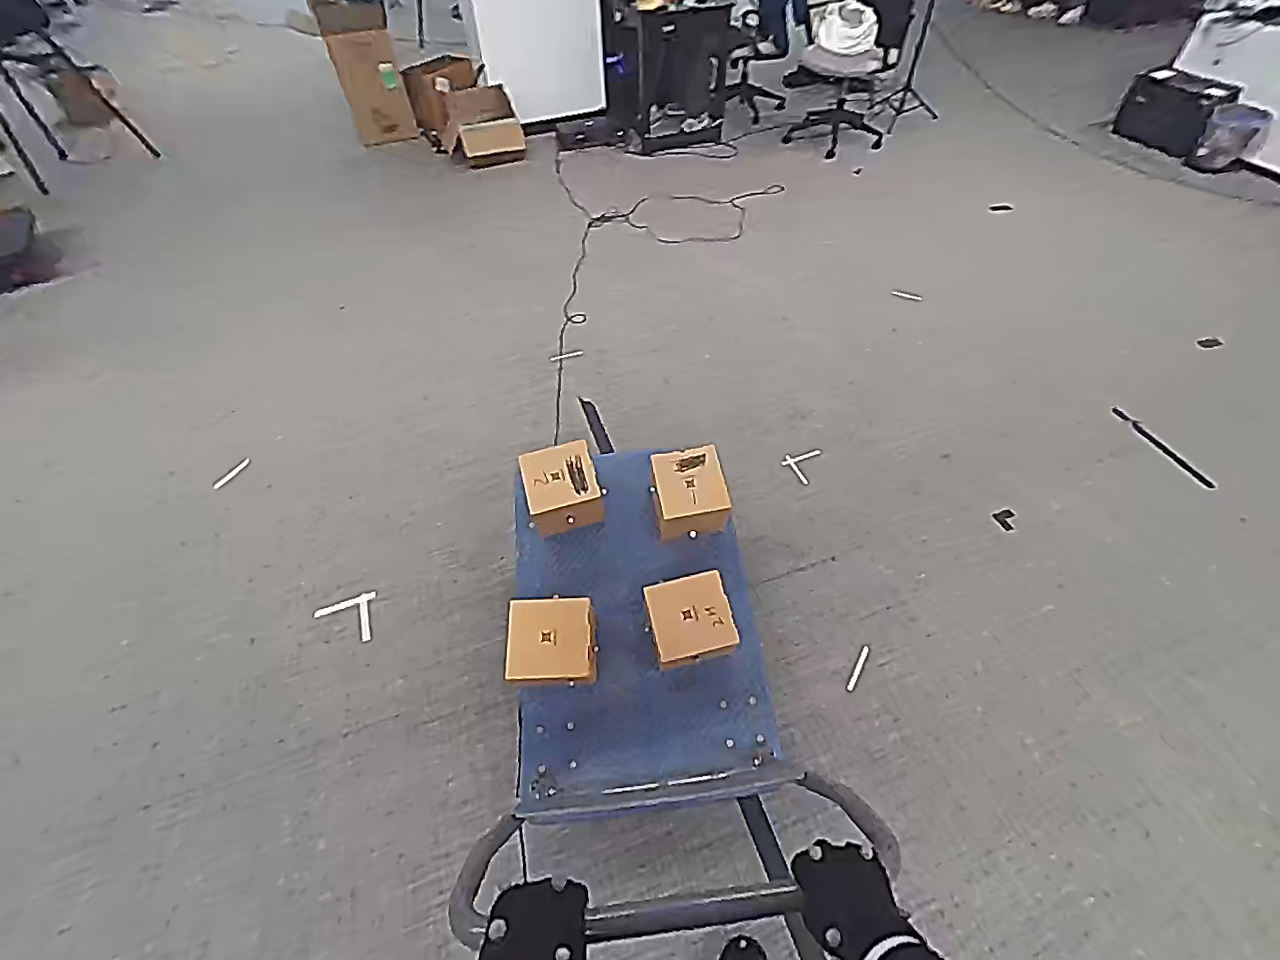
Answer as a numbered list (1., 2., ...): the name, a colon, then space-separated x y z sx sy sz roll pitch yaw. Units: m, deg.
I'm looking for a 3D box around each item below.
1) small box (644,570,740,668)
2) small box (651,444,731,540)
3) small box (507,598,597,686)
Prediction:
1. small box: 0.113 0.323 1.239 0.179 0.176 0.168 -13 66 -5
2. small box: 0.121 0.034 1.375 0.168 0.176 0.179 -10 66 -4
3. small box: -0.192 0.371 1.223 0.179 0.176 0.168 -2 65 -2
